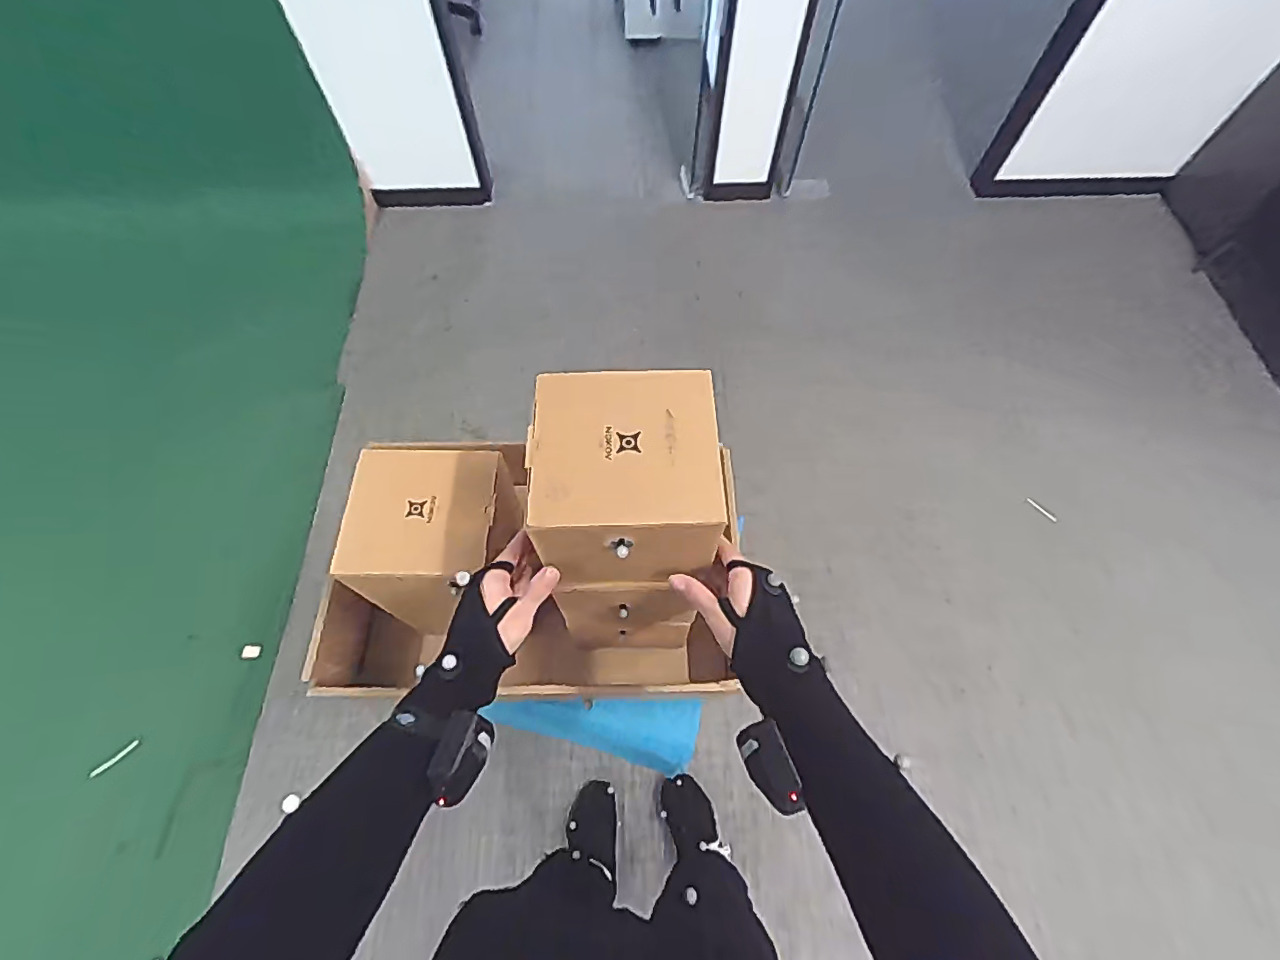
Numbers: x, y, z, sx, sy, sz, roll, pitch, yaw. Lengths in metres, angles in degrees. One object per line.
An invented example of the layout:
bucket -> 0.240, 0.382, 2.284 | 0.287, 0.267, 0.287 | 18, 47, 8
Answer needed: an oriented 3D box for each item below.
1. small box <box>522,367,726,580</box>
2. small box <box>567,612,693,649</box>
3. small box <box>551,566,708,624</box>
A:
small box -> -0.012, 0.001, 0.561 | 0.179, 0.176, 0.168 | -1, 62, 0
small box -> -0.010, 0.164, 0.844 | 0.179, 0.176, 0.168 | 0, 62, 1
small box -> -0.011, 0.085, 0.701 | 0.179, 0.176, 0.168 | -1, 61, 1
